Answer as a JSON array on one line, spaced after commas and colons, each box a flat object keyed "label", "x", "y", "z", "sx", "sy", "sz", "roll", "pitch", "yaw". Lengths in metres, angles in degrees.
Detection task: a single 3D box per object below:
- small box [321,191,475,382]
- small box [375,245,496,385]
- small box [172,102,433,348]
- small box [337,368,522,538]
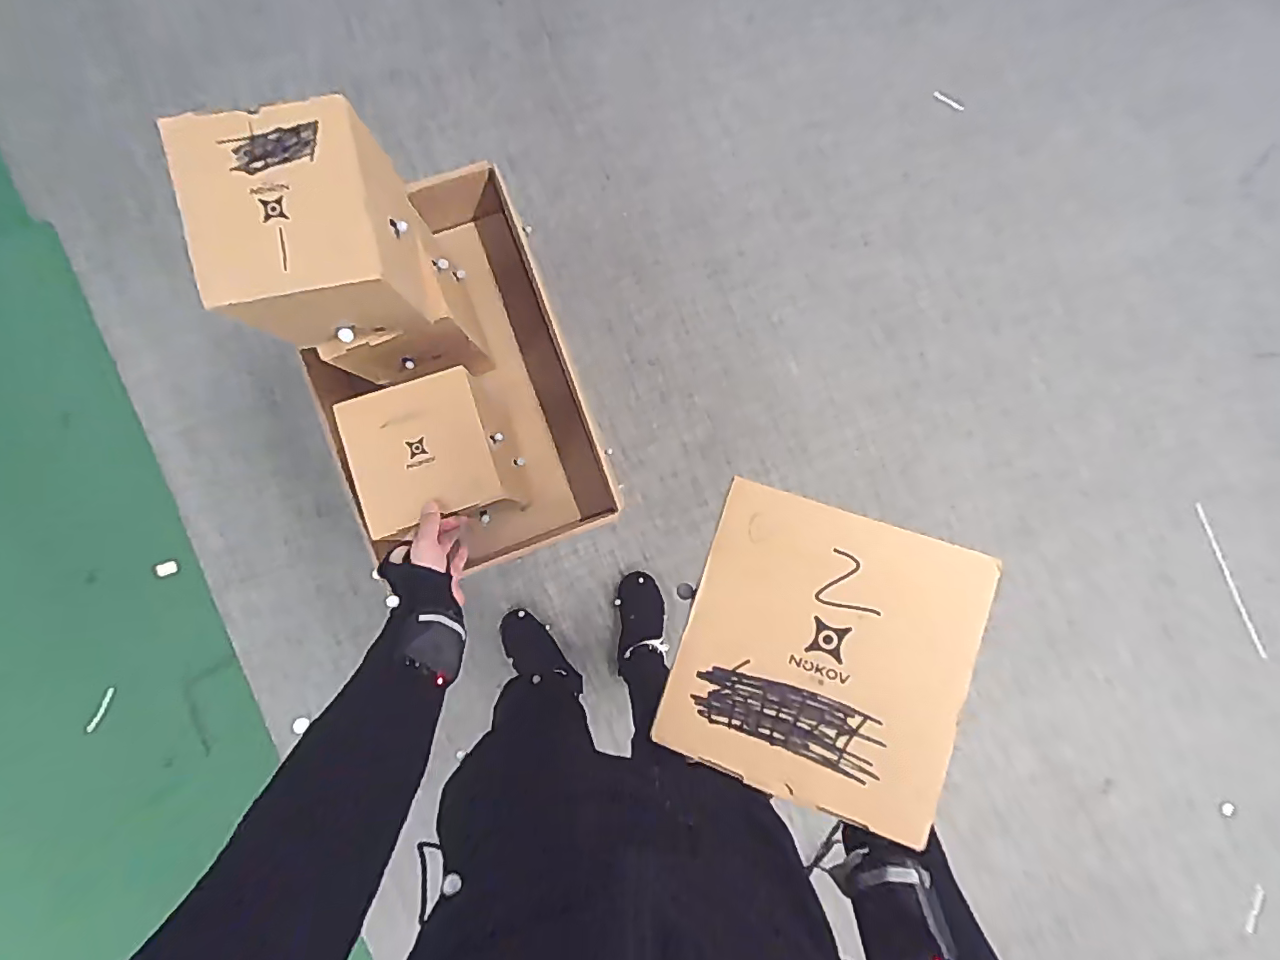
[{"label": "small box", "x": -0.349, "y": -0.256, "z": 0.751, "sx": 0.168, "sy": 0.176, "sz": 0.179, "roll": -22, "pitch": 92, "yaw": -4}, {"label": "small box", "x": -0.361, "y": -0.257, "z": 0.912, "sx": 0.168, "sy": 0.176, "sz": 0.179, "roll": -21, "pitch": 91, "yaw": -3}, {"label": "small box", "x": -0.344, "y": -0.260, "z": 0.586, "sx": 0.168, "sy": 0.176, "sz": 0.179, "roll": -12, "pitch": 92, "yaw": -4}, {"label": "small box", "x": -0.272, "y": -0.027, "z": 0.738, "sx": 0.168, "sy": 0.176, "sz": 0.179, "roll": -18, "pitch": 84, "yaw": -5}]
